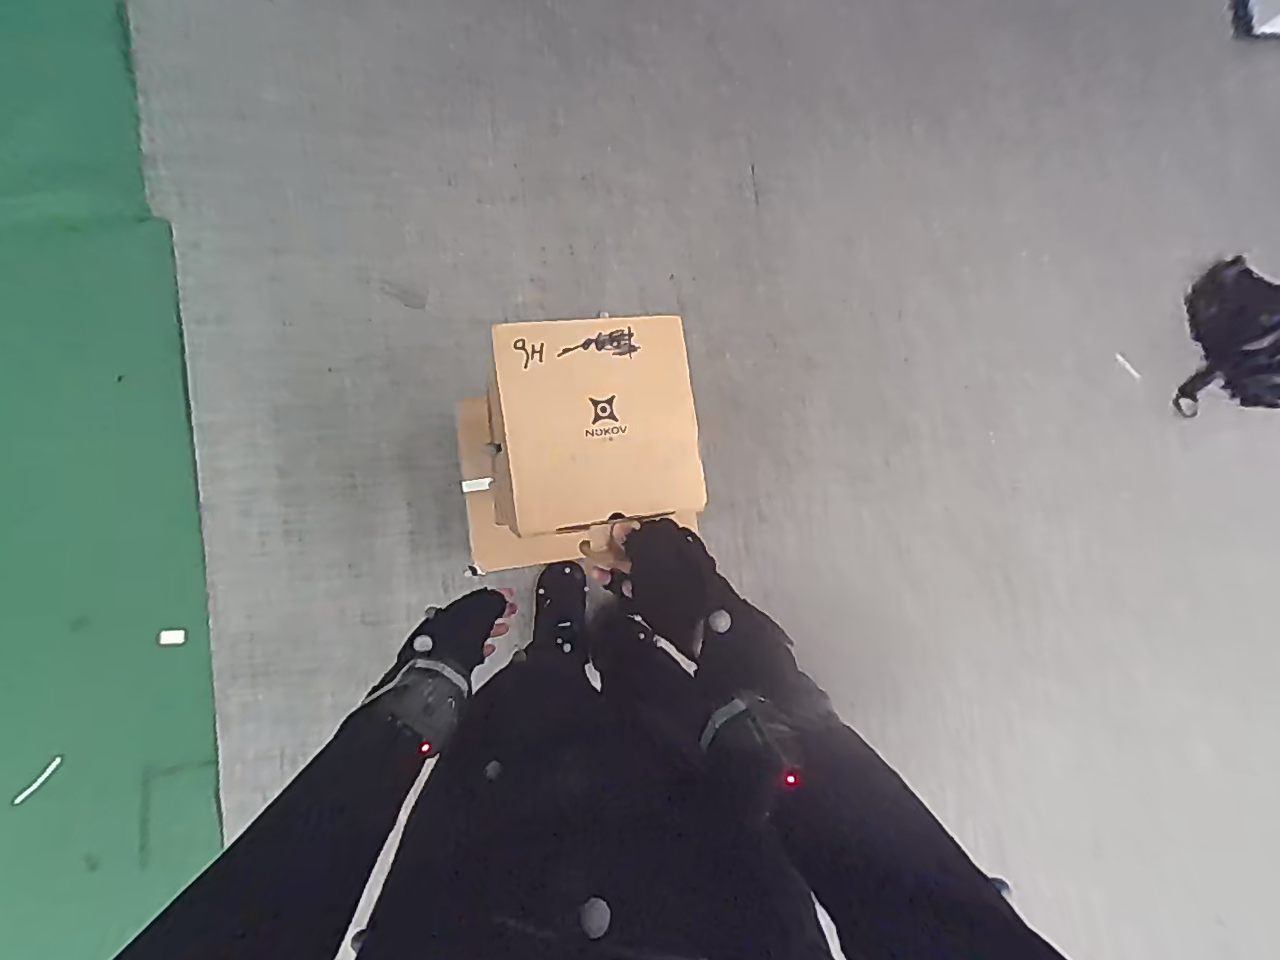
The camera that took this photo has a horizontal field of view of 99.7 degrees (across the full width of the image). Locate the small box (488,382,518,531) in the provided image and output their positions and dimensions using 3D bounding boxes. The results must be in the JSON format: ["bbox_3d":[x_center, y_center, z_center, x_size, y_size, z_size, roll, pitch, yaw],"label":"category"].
[{"bbox_3d":[-0.100,-0.035,0.716,0.168,0.176,0.179,-5,92,-8],"label":"small box"}]

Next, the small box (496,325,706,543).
[{"bbox_3d":[-0.049,-0.041,0.538,0.168,0.176,0.179,-8,89,-16],"label":"small box"}]
